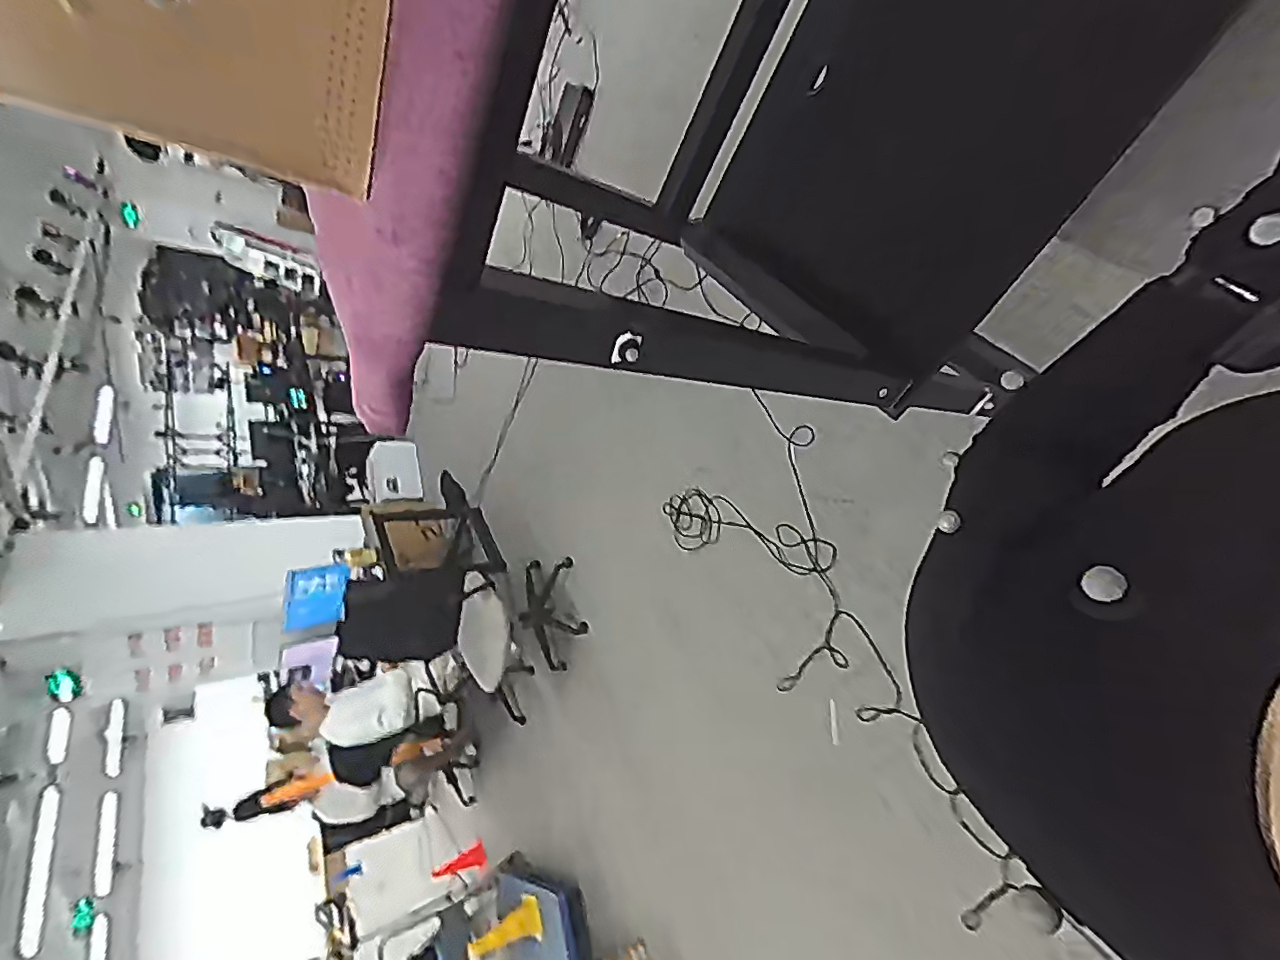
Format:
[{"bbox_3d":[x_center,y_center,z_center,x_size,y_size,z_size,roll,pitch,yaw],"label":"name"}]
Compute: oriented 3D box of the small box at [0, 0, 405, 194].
[{"bbox_3d":[-0.240,-0.287,0.306,0.168,0.176,0.179,45,125,39],"label":"small box"}]
